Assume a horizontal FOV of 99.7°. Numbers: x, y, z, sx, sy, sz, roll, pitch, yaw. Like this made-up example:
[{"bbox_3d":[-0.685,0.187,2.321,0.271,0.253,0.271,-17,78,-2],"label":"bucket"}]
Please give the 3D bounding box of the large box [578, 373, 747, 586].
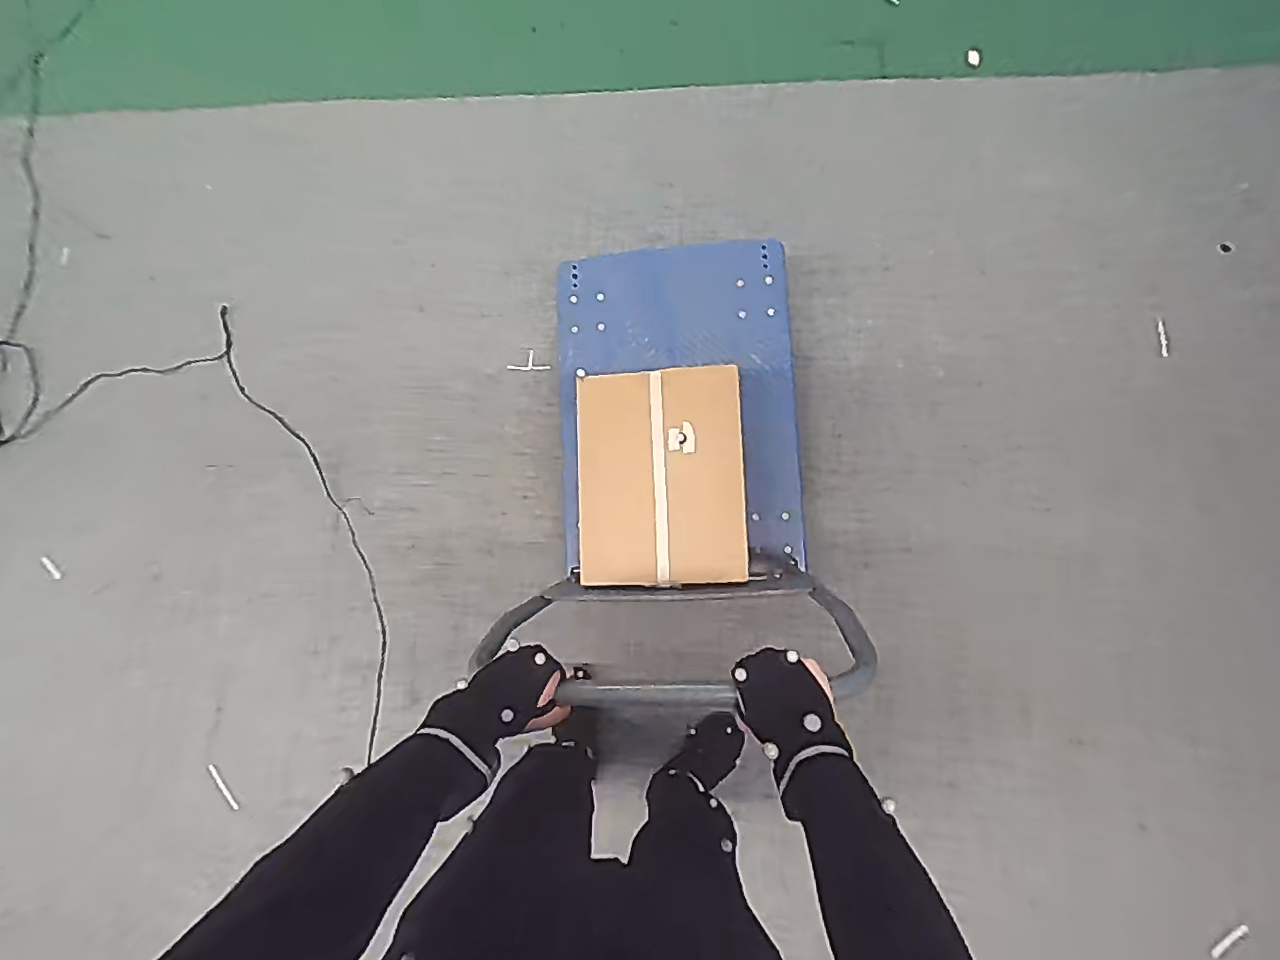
[{"bbox_3d":[0.057,0.017,1.183,0.320,0.320,0.408,-3,82,7],"label":"large box"}]
